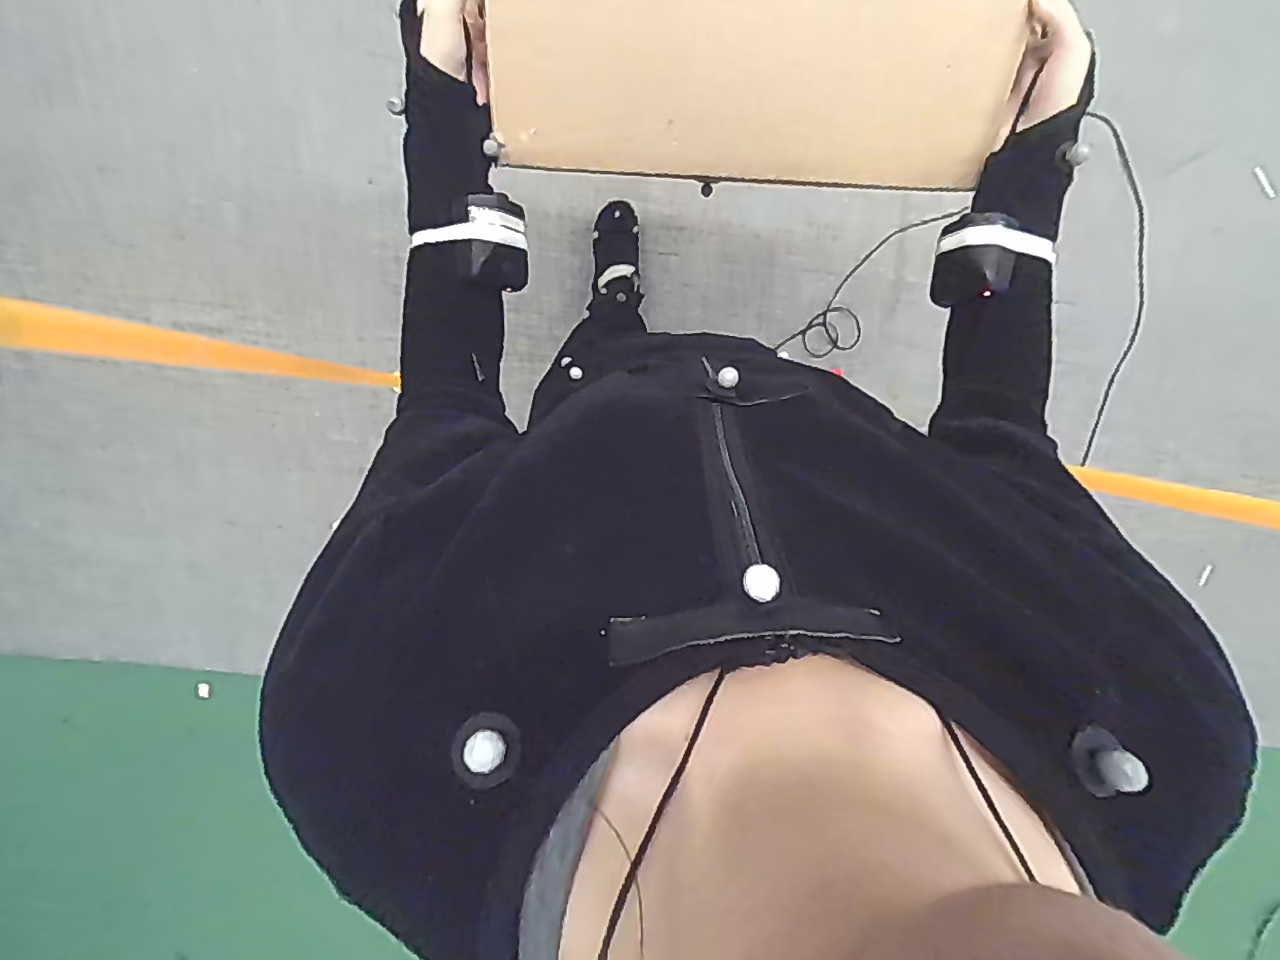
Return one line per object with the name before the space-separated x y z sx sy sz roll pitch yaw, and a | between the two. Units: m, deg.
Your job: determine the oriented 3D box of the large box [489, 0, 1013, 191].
large box | 0.080 -0.461 0.514 0.408 0.320 0.320 0 118 -5
